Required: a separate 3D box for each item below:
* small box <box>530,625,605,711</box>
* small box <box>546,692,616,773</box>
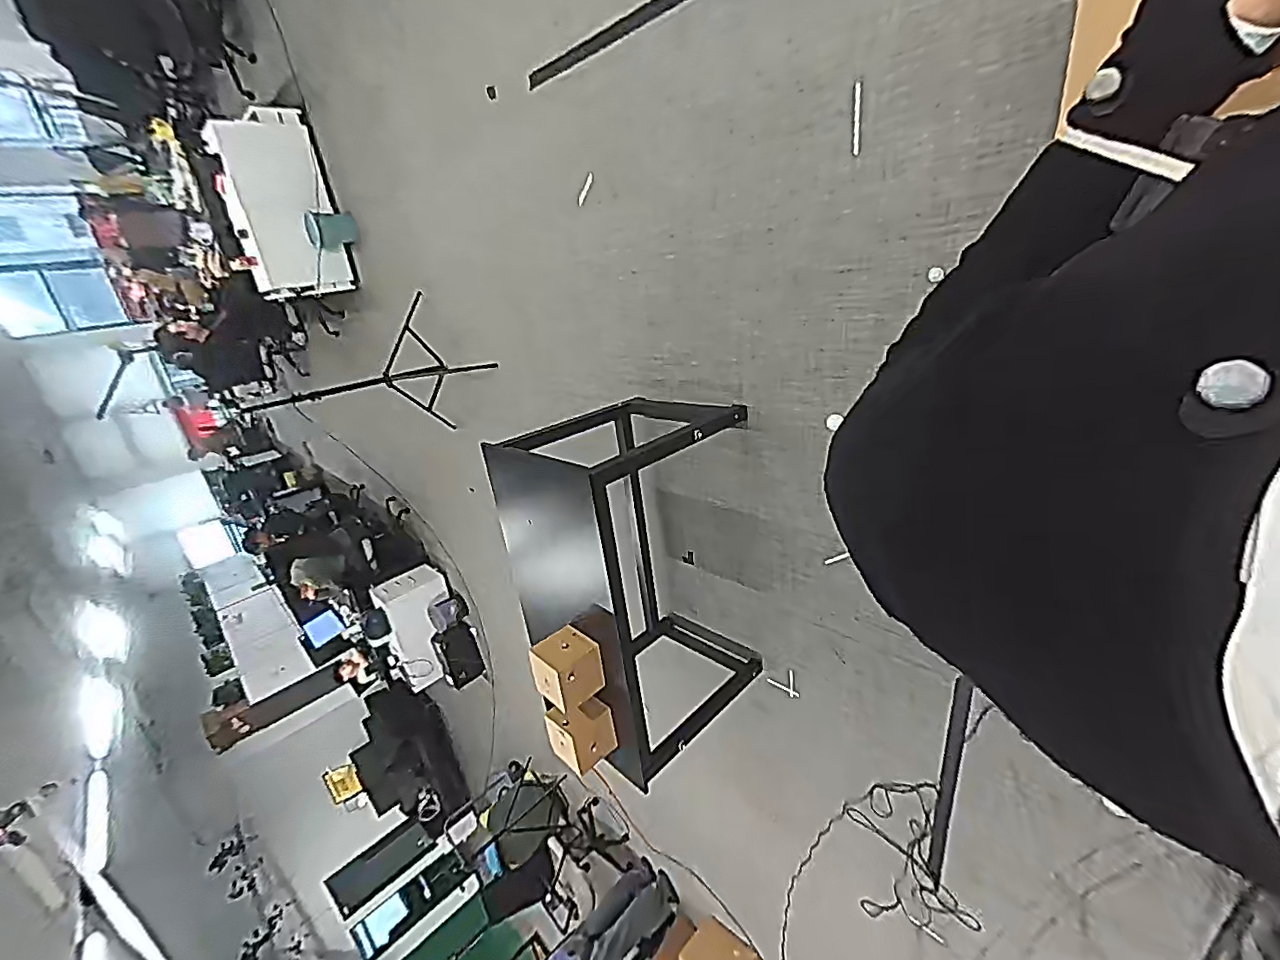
[{"bbox_3d":[-0.235,0.609,1.777,0.168,0.176,0.179,18,123,45],"label":"small box"},{"bbox_3d":[-0.200,0.860,1.879,0.168,0.176,0.179,13,120,46],"label":"small box"}]
